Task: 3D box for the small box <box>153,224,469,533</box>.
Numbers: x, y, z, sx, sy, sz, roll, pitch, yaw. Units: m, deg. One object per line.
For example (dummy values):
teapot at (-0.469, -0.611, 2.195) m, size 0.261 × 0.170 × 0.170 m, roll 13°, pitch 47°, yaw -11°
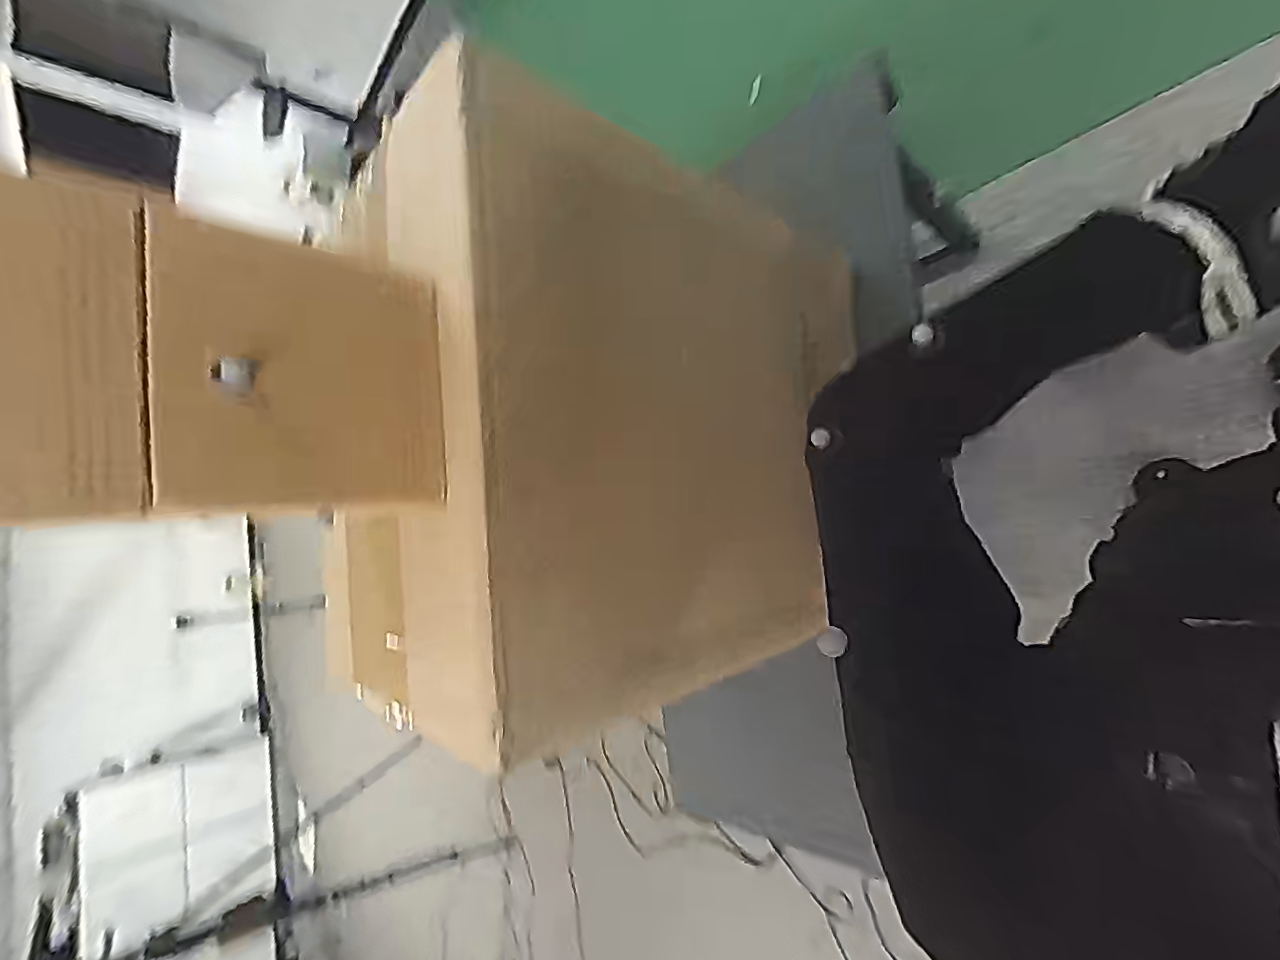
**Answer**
small box at (-0.247, -0.053, 0.411) m, size 0.168 × 0.176 × 0.179 m, roll -8°, pitch 85°, yaw 43°
